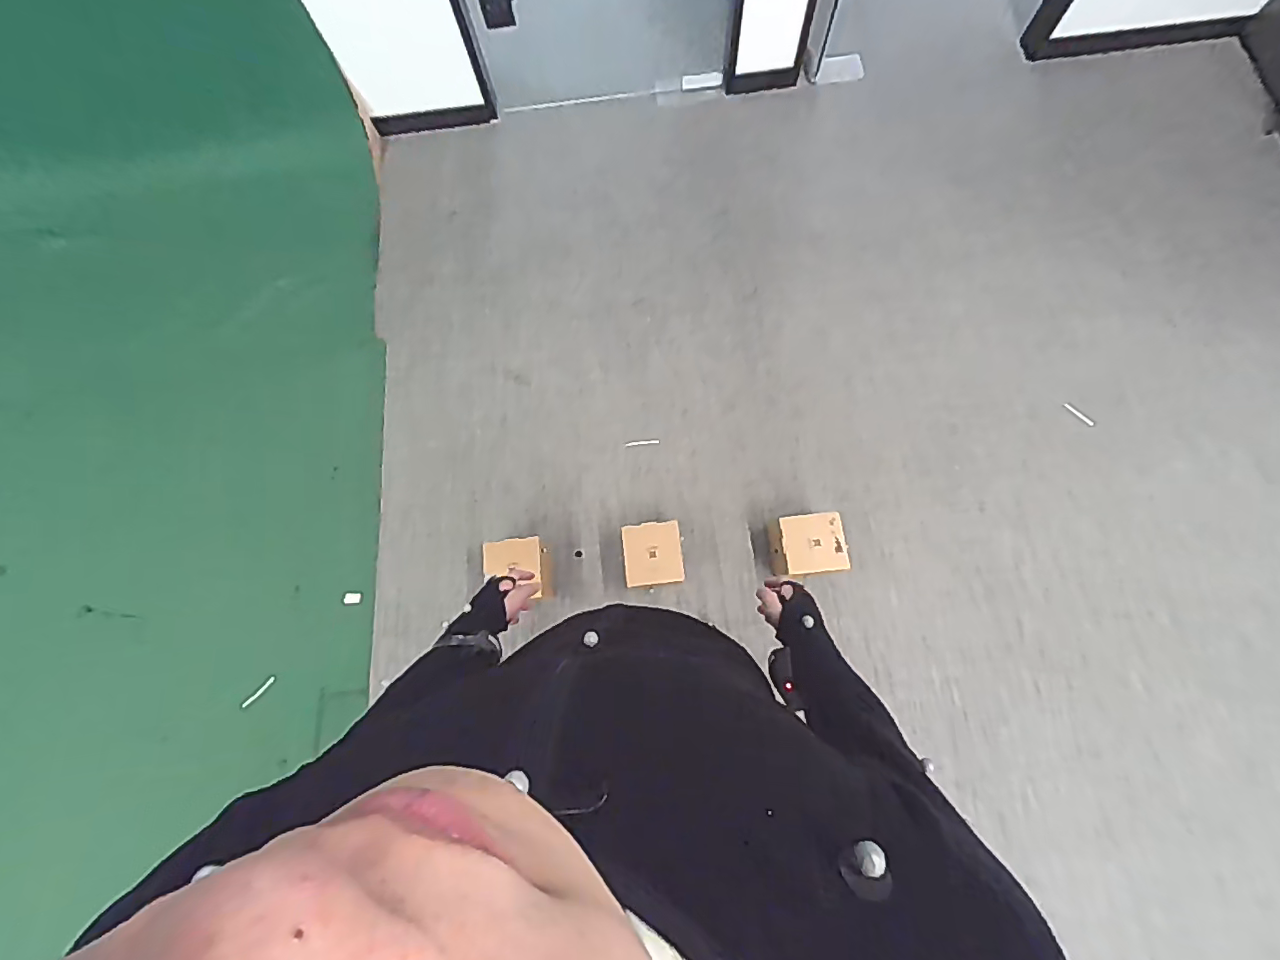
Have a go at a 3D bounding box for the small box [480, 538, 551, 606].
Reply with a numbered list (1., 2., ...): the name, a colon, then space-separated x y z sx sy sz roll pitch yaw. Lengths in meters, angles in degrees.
1. small box: -0.361 0.276 1.591 0.168 0.176 0.179 -7 74 1

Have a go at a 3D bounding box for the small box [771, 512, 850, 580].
1. small box: 0.487 0.197 1.577 0.179 0.176 0.168 -6 75 1

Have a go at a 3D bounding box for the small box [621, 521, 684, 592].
1. small box: 0.036 0.228 1.588 0.168 0.176 0.179 -7 75 1
